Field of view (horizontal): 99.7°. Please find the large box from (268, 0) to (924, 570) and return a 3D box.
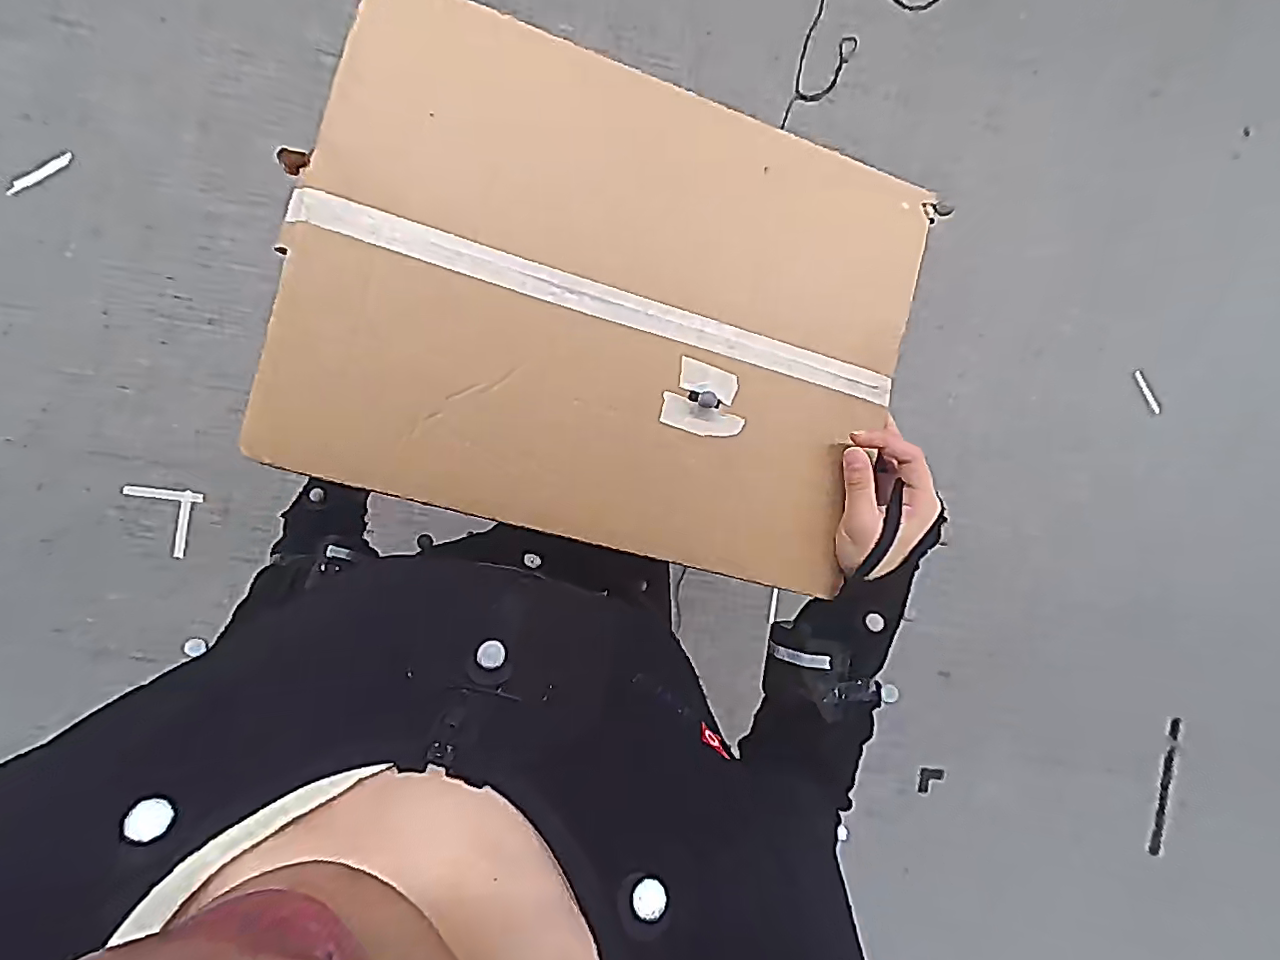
[{"bbox_3d":[-0.035,-0.127,0.514,0.408,0.320,0.320,15,89,-12],"label":"large box"}]
